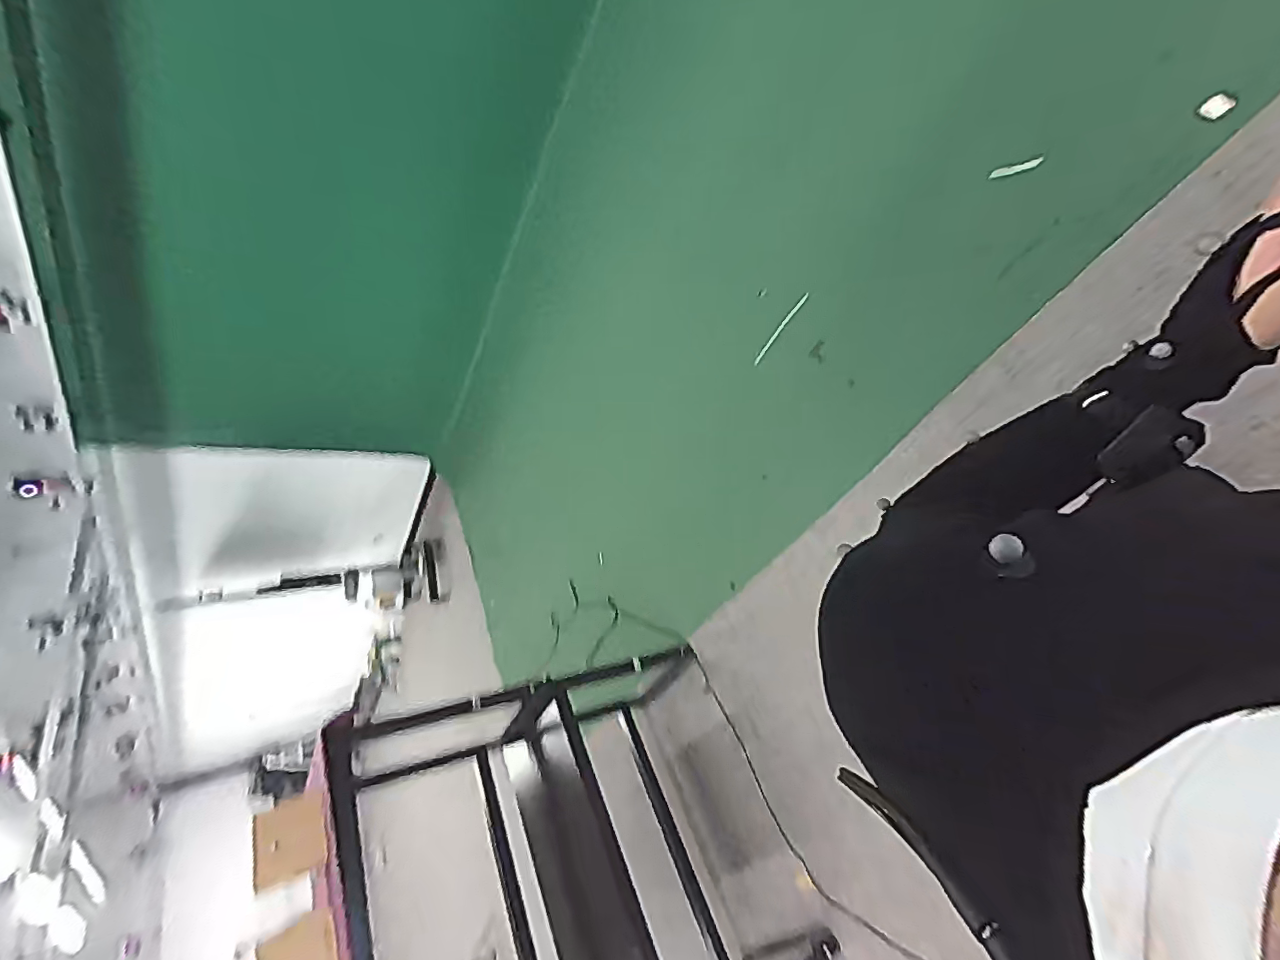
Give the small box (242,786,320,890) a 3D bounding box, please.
[{"bbox_3d":[-0.991,0.984,1.492,0.168,0.176,0.179,-55,49,38],"label":"small box"}]
